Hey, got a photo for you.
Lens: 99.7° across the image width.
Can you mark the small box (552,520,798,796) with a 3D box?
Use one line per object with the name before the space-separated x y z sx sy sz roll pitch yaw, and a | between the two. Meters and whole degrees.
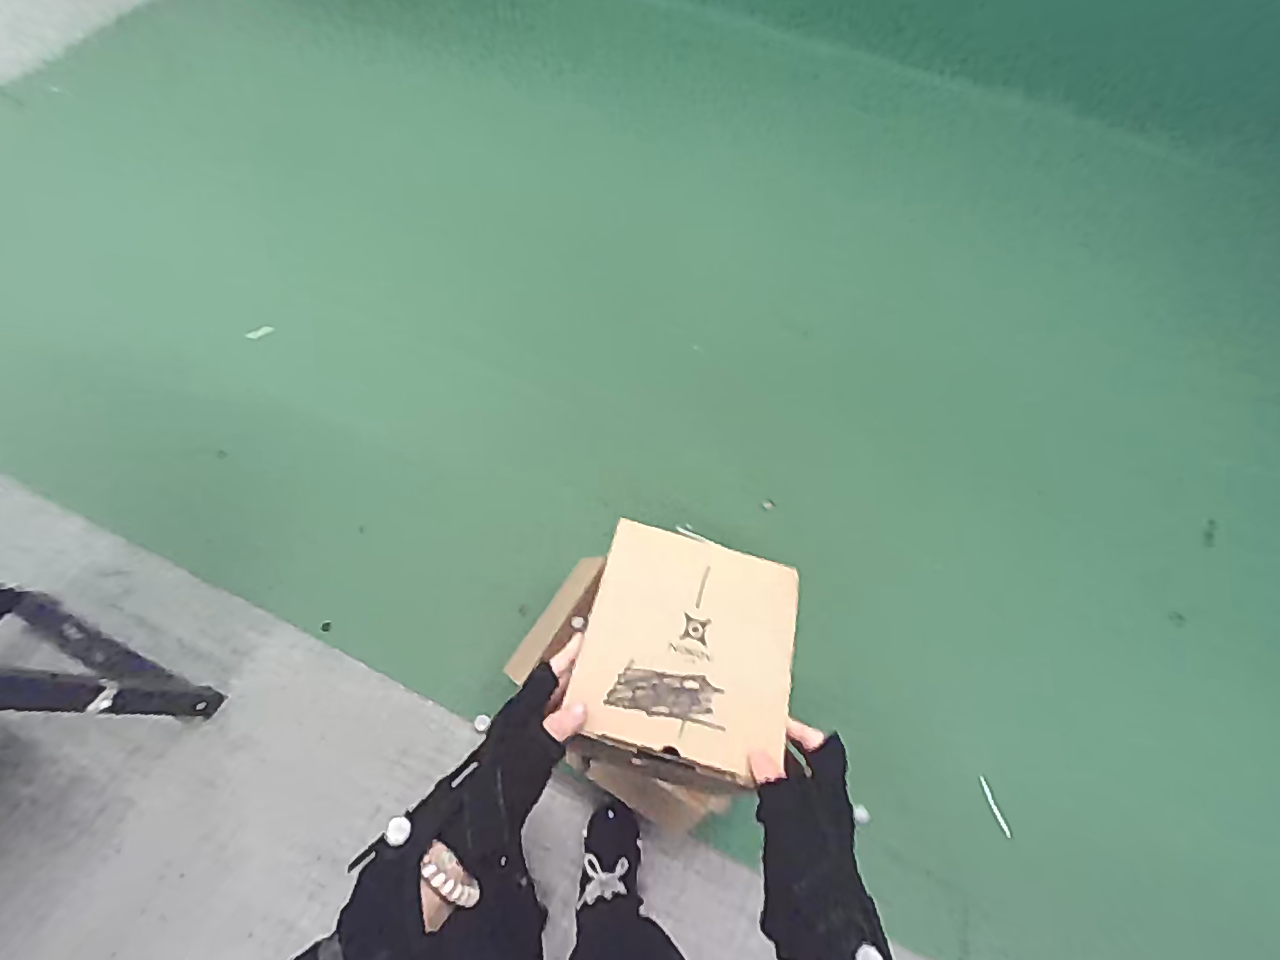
small box | 0.026 0.169 0.491 0.168 0.176 0.179 17 56 0
